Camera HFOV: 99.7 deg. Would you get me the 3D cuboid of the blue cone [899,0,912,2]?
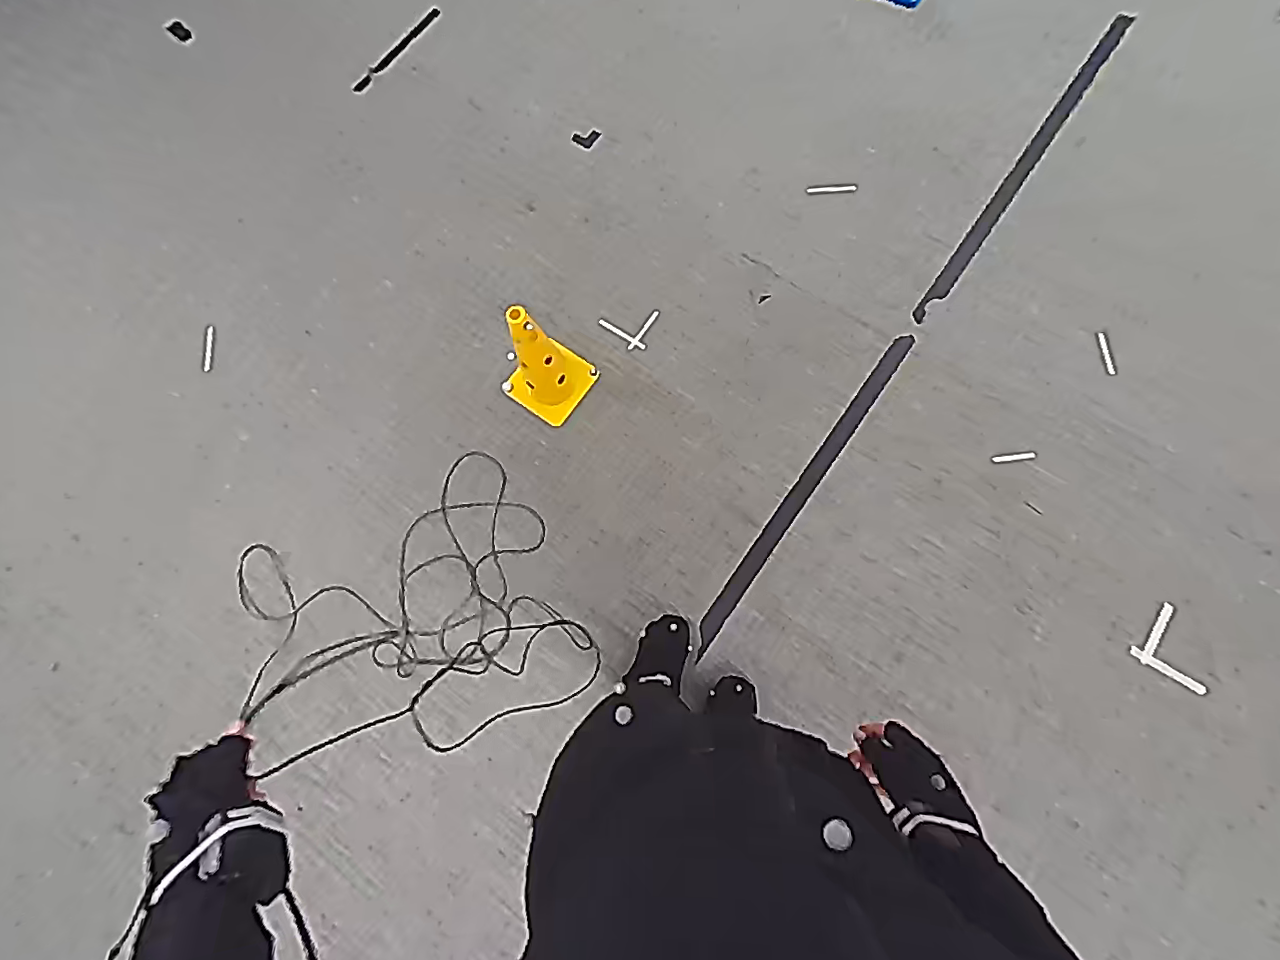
[{"bbox_3d":[0.799,-1.640,1.548,0.192,0.380,0.193,29,80,9],"label":"blue cone"}]
